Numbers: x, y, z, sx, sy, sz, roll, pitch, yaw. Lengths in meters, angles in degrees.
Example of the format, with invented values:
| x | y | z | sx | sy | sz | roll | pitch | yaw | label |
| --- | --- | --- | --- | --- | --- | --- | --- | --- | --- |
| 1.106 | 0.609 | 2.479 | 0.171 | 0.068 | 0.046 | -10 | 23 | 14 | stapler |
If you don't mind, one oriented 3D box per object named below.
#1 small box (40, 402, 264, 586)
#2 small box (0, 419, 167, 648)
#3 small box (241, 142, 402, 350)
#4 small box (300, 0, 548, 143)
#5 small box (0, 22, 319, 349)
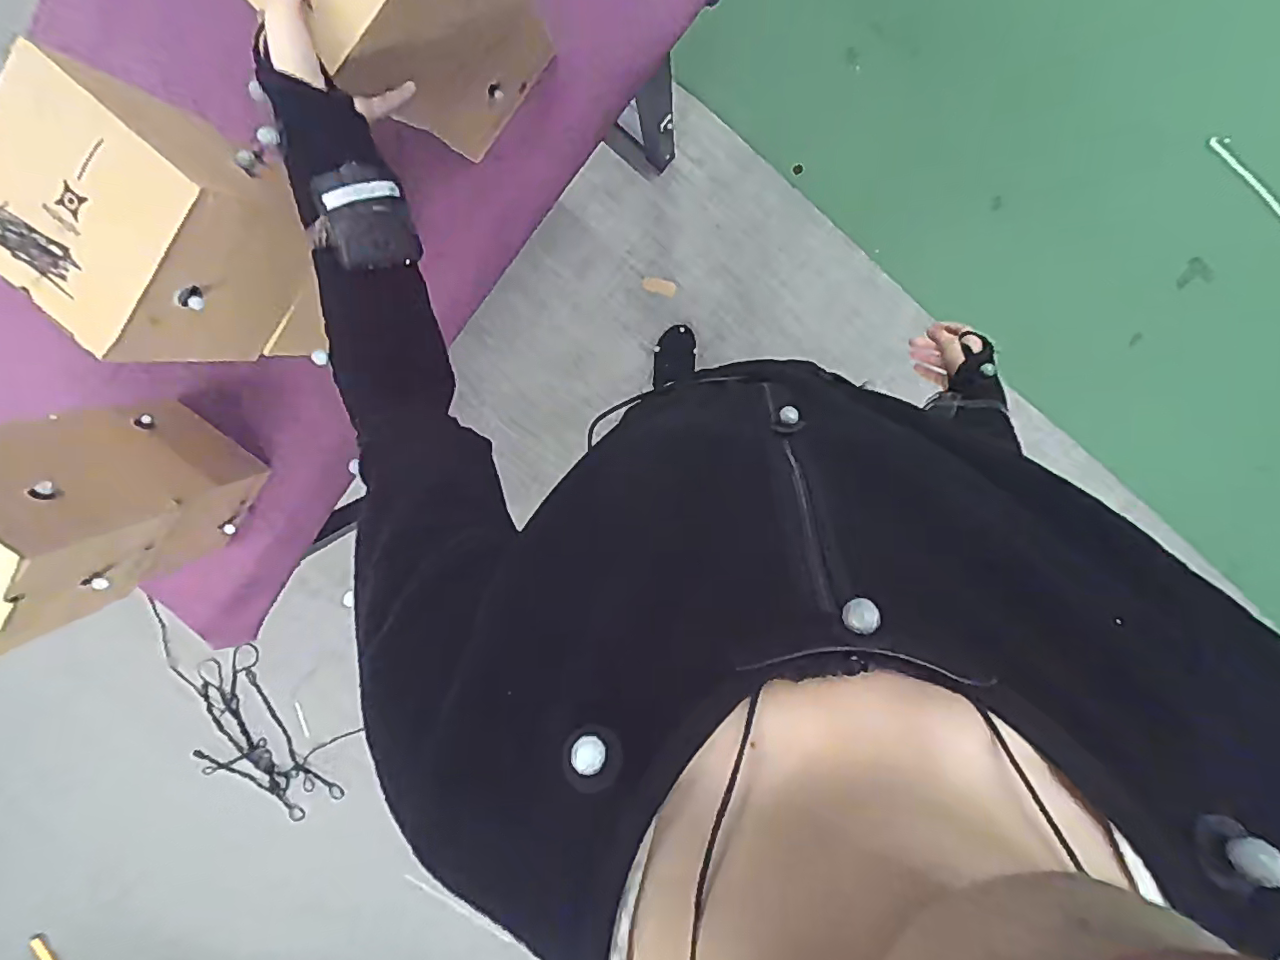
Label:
| x | y | z | sx | sy | sz | roll | pitch | yaw | label |
| --- | --- | --- | --- | --- | --- | --- | --- | --- | --- |
| -0.681 | 0.006 | 0.744 | 0.179 | 0.176 | 0.168 | 38 | 104 | -6 | small box |
| -0.684 | 0.052 | 0.587 | 0.179 | 0.176 | 0.168 | 40 | 103 | -6 | small box |
| -0.430 | -0.278 | 0.656 | 0.179 | 0.176 | 0.168 | 38 | 104 | -4 | small box |
| -0.223 | -0.499 | 0.577 | 0.179 | 0.176 | 0.168 | 42 | 105 | -9 | small box |
| -0.444 | -0.238 | 0.496 | 0.168 | 0.176 | 0.179 | 41 | 103 | -5 | small box |
